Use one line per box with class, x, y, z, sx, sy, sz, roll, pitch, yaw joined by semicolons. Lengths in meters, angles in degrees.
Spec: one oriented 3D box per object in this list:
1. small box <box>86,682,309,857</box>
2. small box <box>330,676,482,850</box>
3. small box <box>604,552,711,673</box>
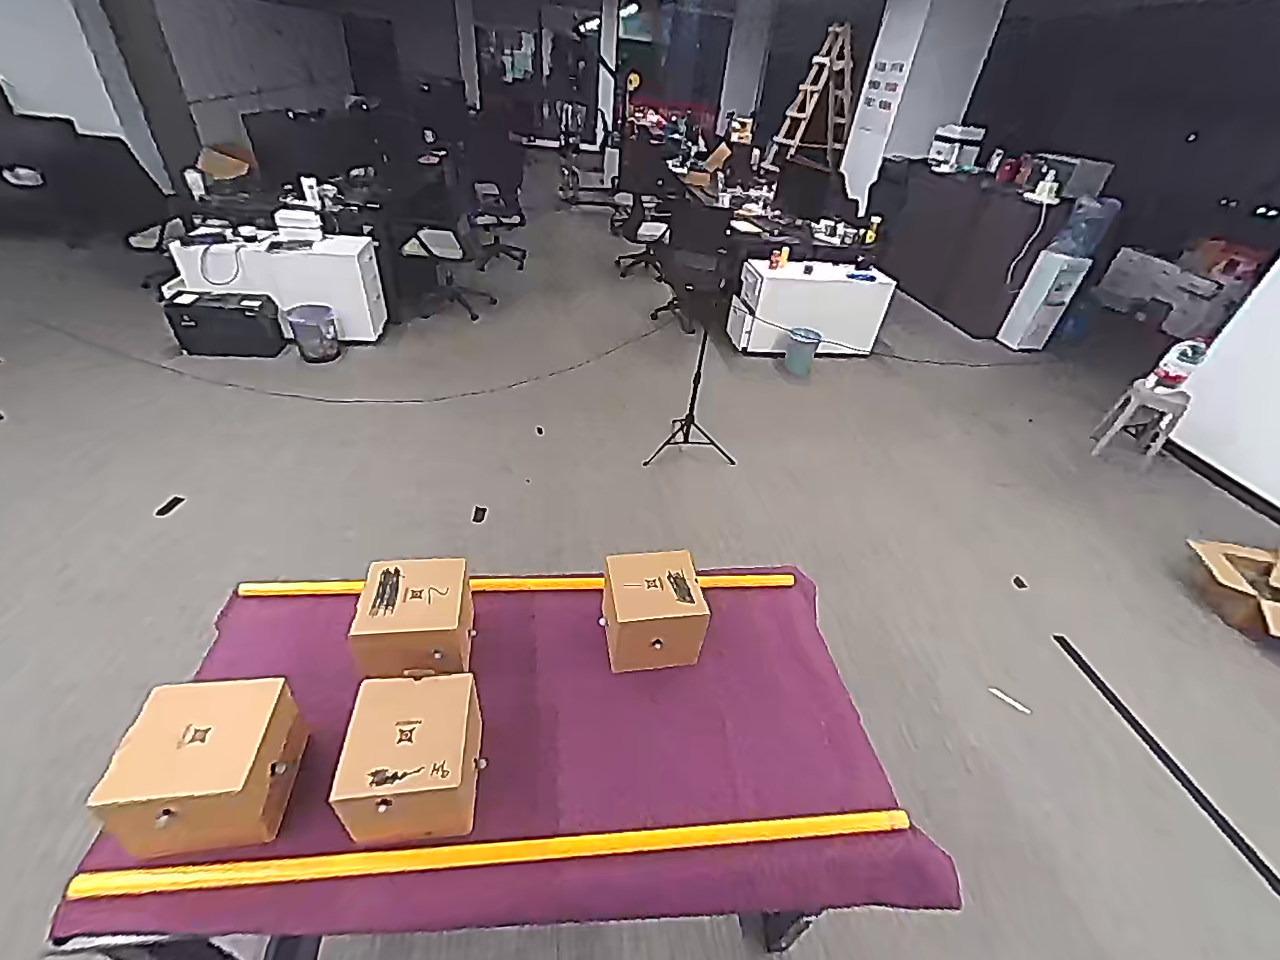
small box;-0.615;0.419;0.787;0.179;0.176;0.168;-1;38;-11
small box;-0.337;0.425;0.821;0.168;0.176;0.179;-1;38;-9
small box;0.026;0.265;1.082;0.179;0.176;0.168;-3;39;-10
